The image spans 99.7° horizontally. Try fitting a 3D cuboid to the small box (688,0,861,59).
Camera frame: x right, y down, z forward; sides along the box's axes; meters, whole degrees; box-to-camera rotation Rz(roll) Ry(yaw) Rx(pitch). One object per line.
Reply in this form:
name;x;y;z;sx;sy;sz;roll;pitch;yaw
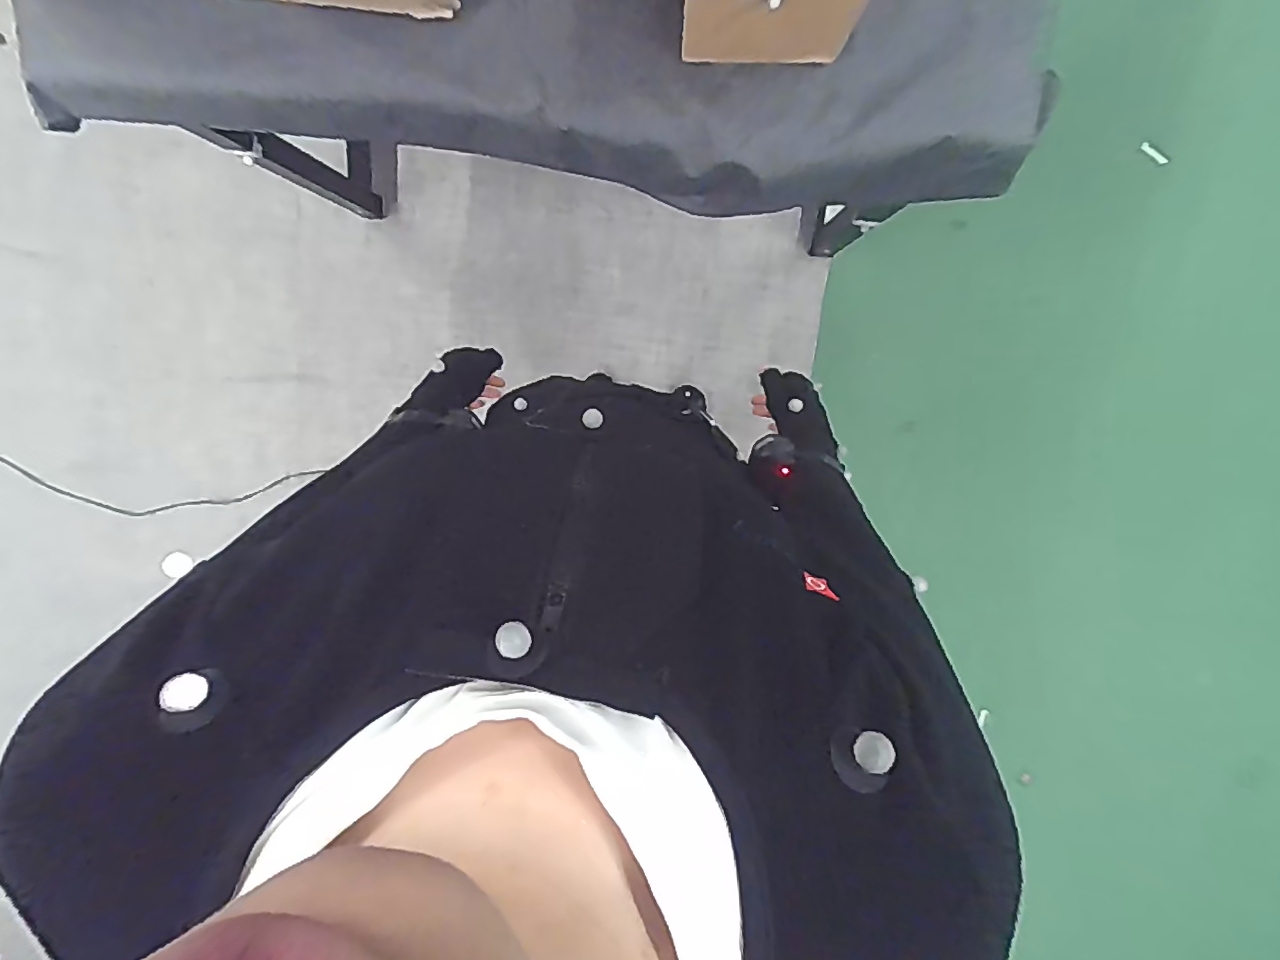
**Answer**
small box;0.140;-0.550;0.531;0.179;0.176;0.168;2;103;1
